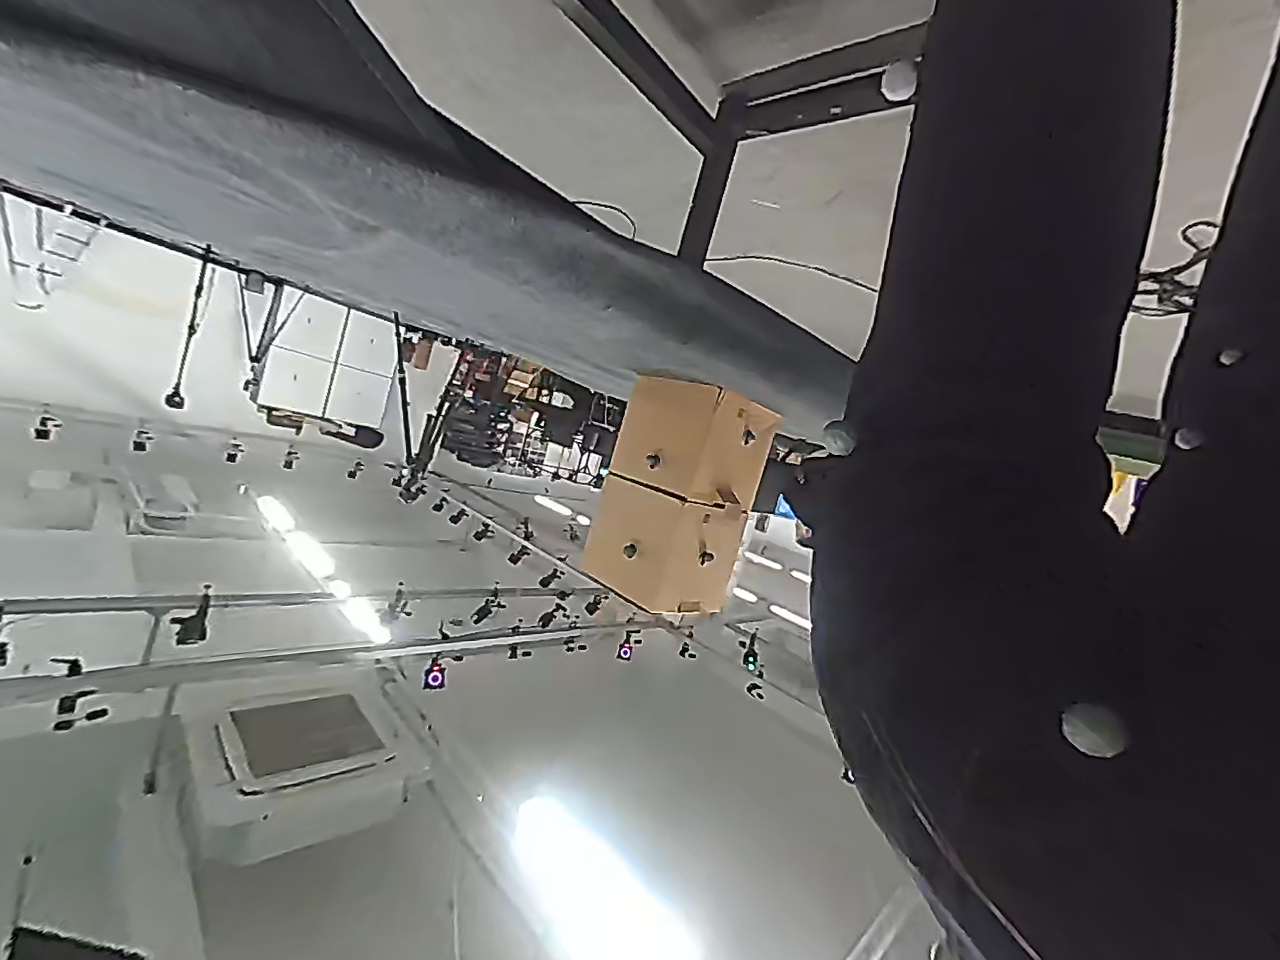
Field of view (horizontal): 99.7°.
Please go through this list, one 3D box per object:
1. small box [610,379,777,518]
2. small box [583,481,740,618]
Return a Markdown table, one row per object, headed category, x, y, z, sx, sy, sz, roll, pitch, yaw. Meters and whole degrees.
| category | x | y | z | sx | sy | sz | roll | pitch | yaw |
| --- | --- | --- | --- | --- | --- | --- | --- | --- | --- |
| small box | 0.085 | -0.053 | 0.850 | 0.168 | 0.176 | 0.179 | 13 | -176 | -45 |
| small box | 0.039 | 0.104 | 0.854 | 0.168 | 0.176 | 0.179 | 13 | -176 | -44 |
